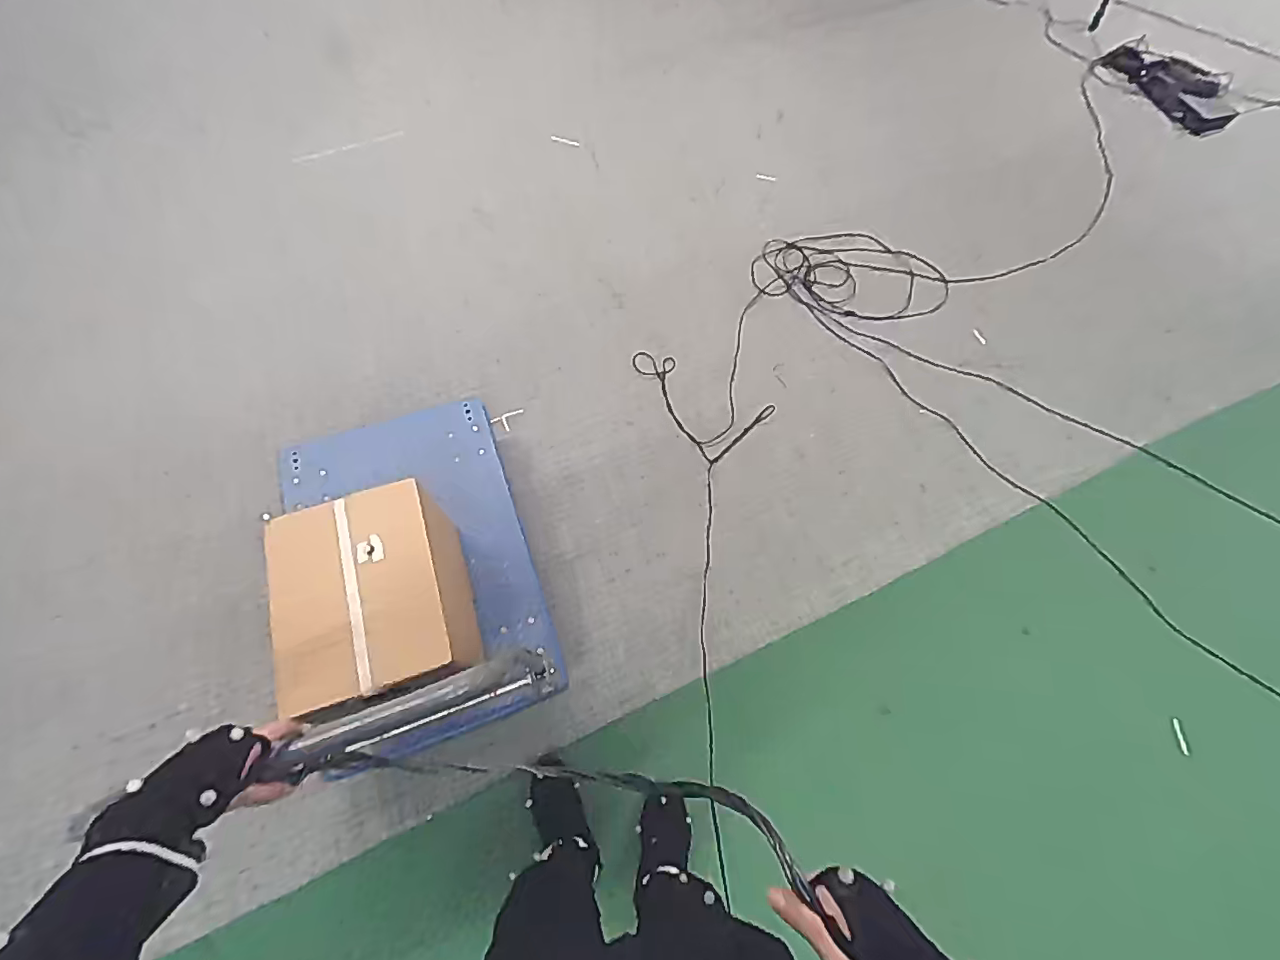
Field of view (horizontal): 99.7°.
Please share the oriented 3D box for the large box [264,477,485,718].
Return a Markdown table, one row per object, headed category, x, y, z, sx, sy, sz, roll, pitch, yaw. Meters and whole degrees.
| category | x | y | z | sx | sy | sz | roll | pitch | yaw |
| --- | --- | --- | --- | --- | --- | --- | --- | --- | --- |
| large box | -0.568 | 0.269 | 1.196 | 0.320 | 0.320 | 0.408 | -17 | 67 | -10 |
